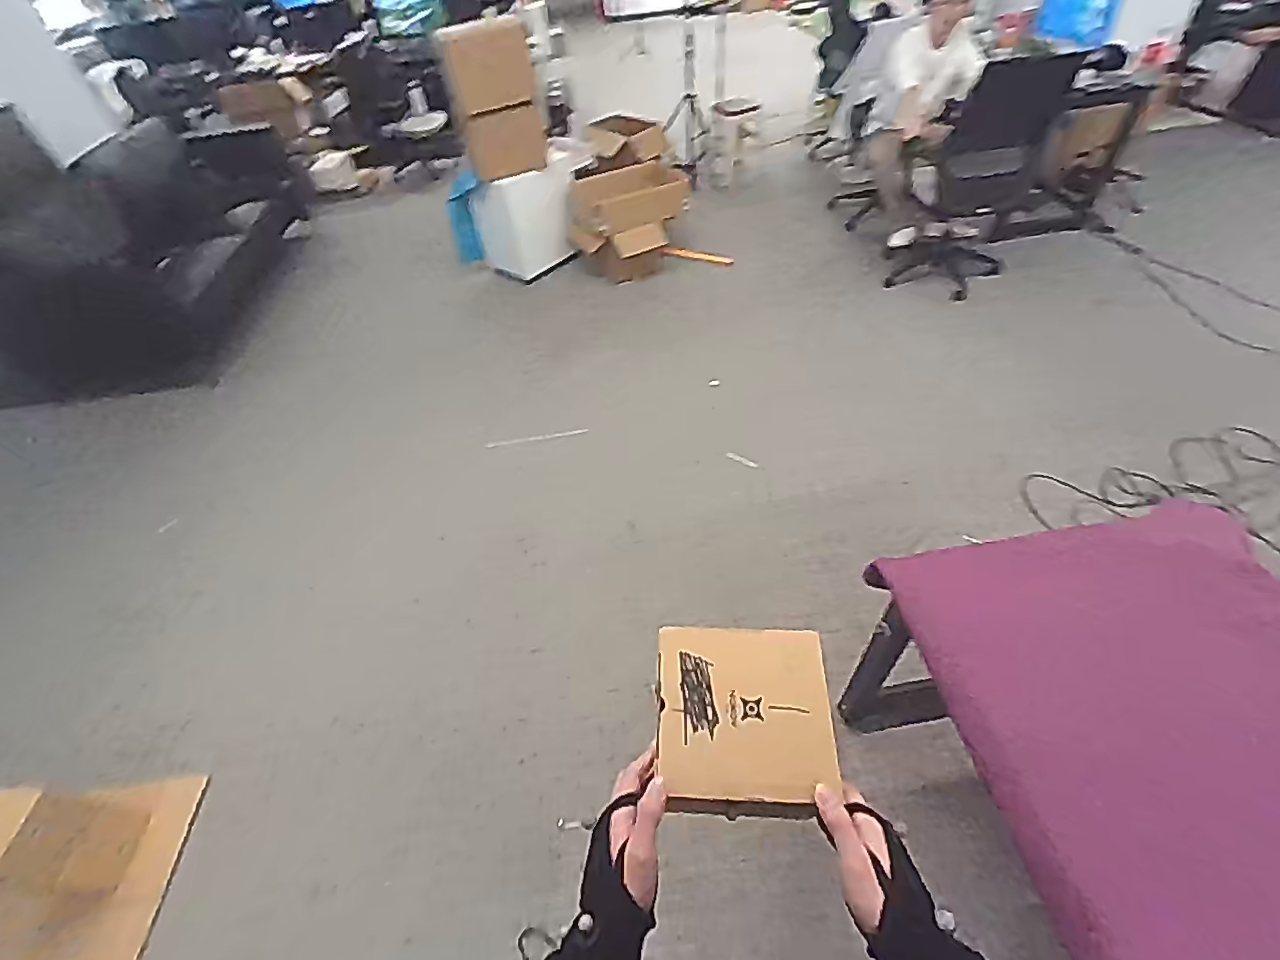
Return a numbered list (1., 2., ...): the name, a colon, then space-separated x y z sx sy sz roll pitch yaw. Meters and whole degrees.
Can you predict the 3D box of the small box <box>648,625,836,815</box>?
1. small box: 0.102 0.275 0.611 0.179 0.176 0.168 1 55 3
